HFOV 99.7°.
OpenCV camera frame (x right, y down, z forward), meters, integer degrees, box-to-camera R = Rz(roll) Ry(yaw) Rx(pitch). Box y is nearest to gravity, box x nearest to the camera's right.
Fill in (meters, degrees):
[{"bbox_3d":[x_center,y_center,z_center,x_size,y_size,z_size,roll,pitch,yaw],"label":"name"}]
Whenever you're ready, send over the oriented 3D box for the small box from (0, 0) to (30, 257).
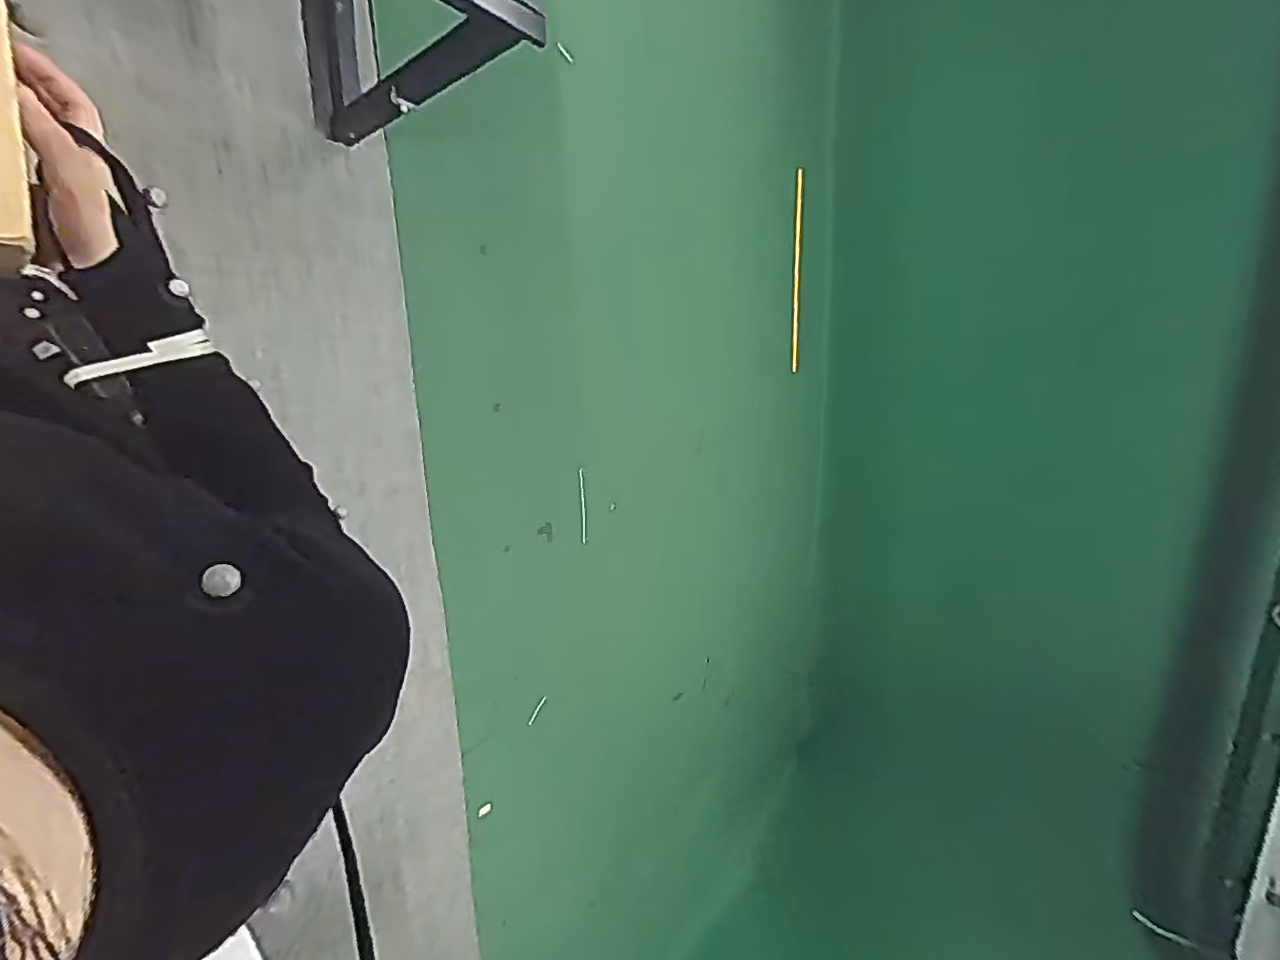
[{"bbox_3d":[-0.419,-0.217,0.249,0.168,0.176,0.179,-8,103,-51],"label":"small box"}]
